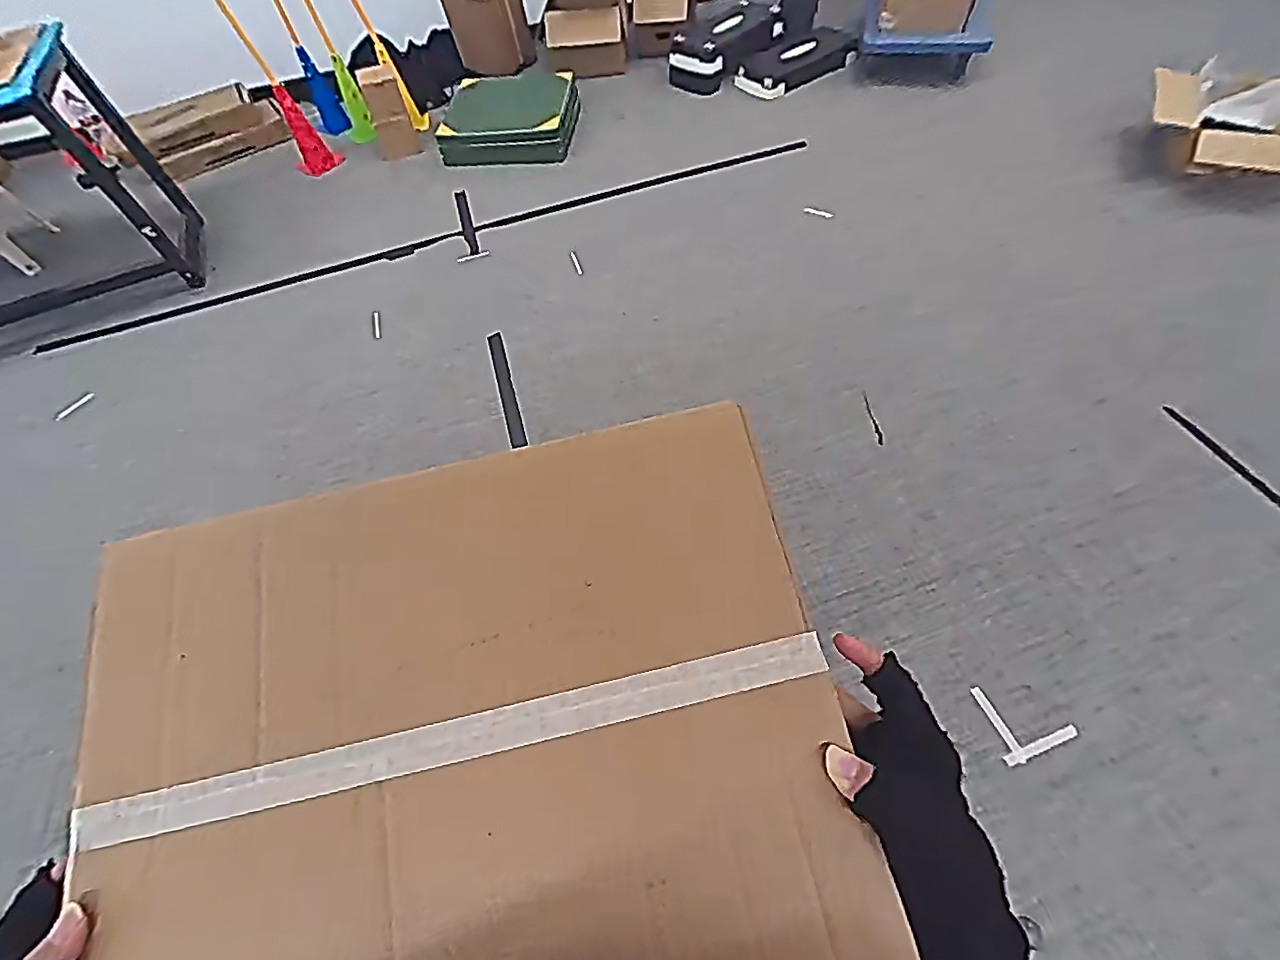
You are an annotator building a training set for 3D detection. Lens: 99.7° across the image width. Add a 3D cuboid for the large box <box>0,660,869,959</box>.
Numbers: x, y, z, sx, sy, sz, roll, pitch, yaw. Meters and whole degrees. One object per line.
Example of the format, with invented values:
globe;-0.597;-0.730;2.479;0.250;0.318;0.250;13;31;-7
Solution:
large box;-0.110;0.296;0.356;0.408;0.320;0.320;4;73;-20
